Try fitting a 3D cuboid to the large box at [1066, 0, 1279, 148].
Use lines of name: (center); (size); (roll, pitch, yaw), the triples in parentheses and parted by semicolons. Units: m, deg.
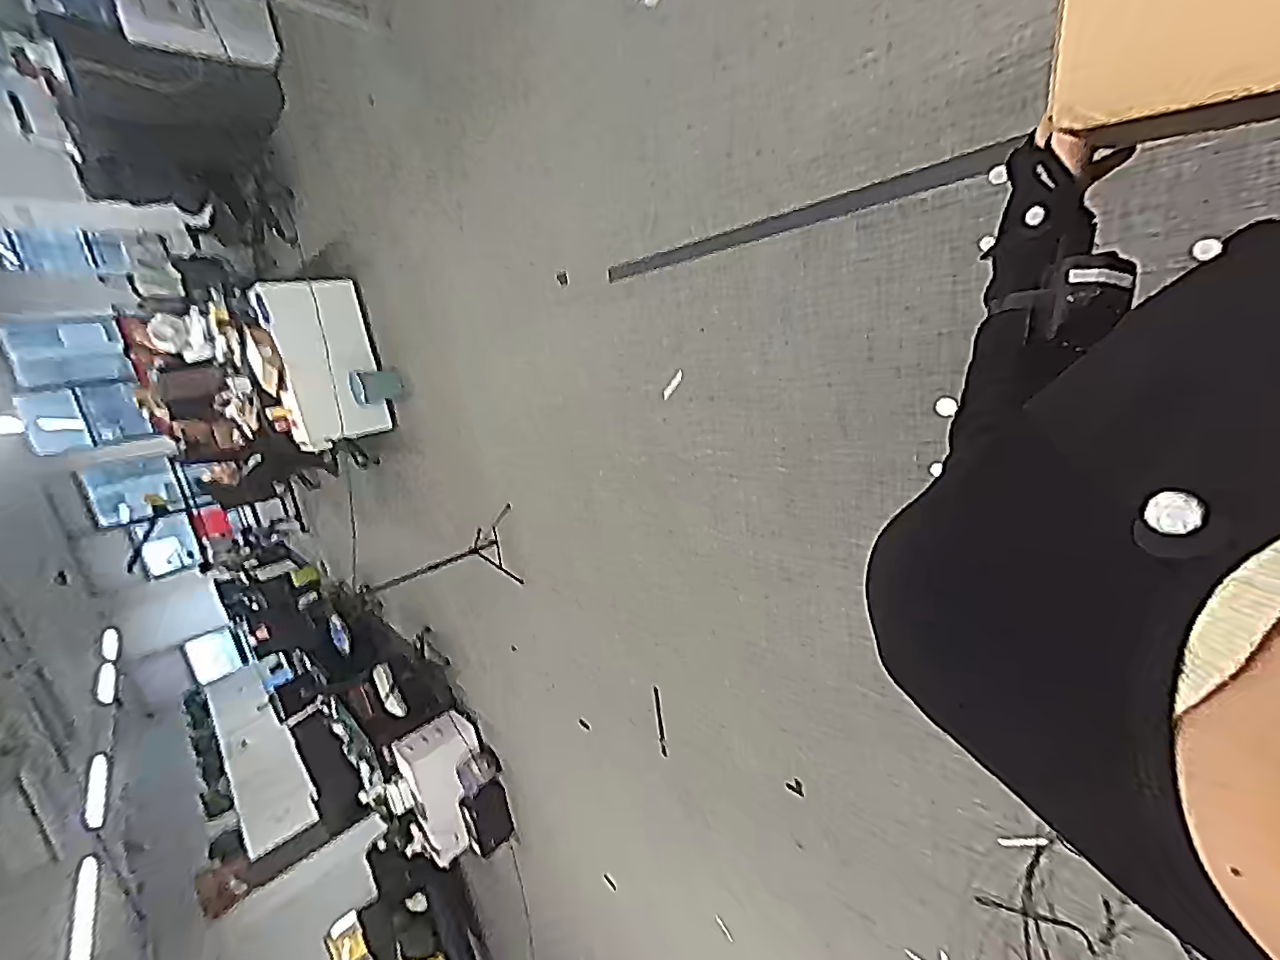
large box: (0.407, -0.328, 0.163); (0.408, 0.320, 0.320); (10, 120, 39)
